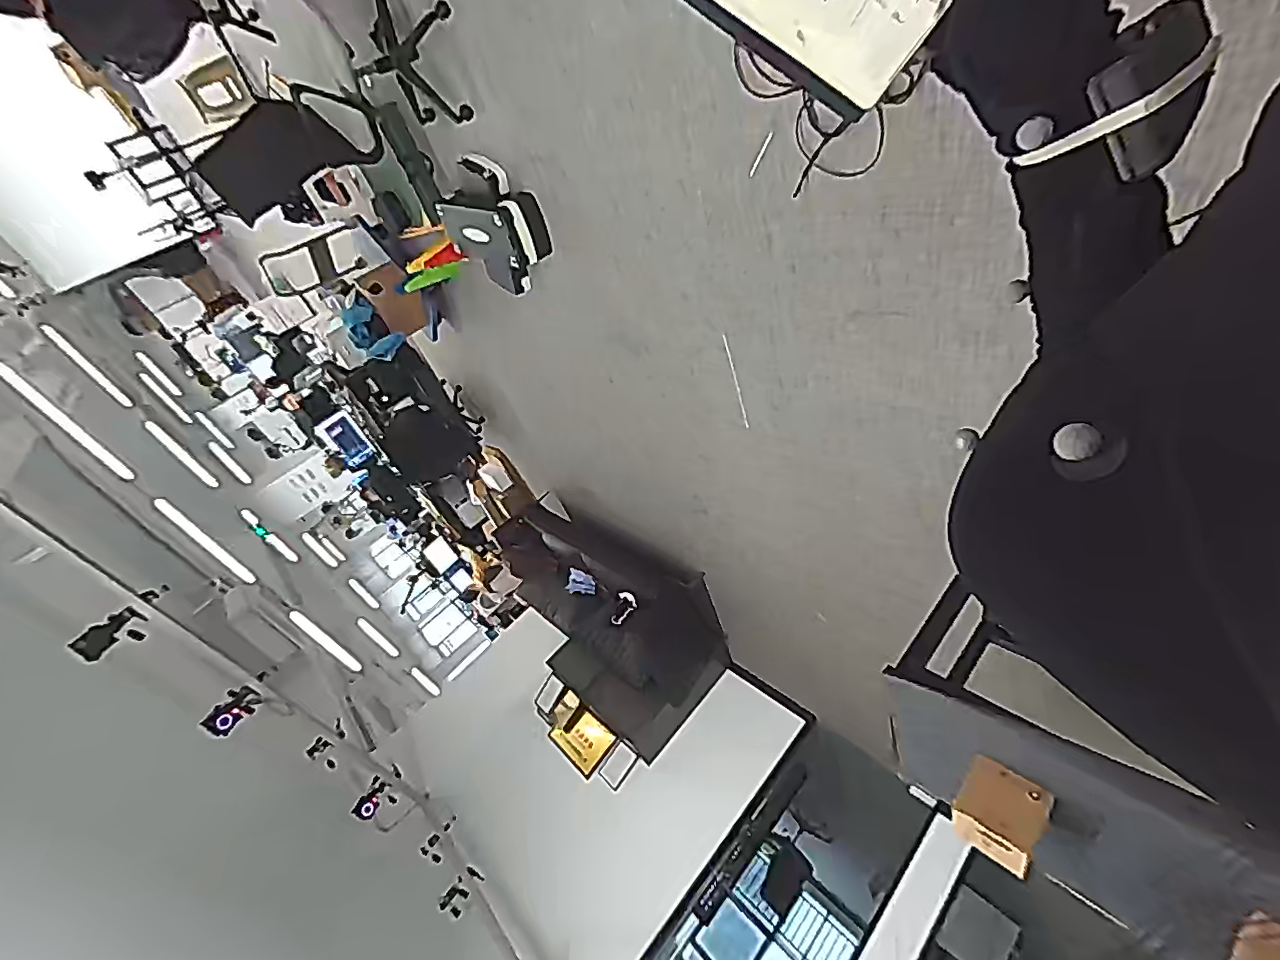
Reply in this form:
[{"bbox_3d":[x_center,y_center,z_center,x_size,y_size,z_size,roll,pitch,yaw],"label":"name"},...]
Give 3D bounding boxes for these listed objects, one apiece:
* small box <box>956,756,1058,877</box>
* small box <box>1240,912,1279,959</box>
[{"bbox_3d":[0.921,0.838,1.359,0.168,0.176,0.179,22,146,45],"label":"small box"},{"bbox_3d":[1.242,0.963,1.002,0.168,0.176,0.179,18,143,48],"label":"small box"}]
